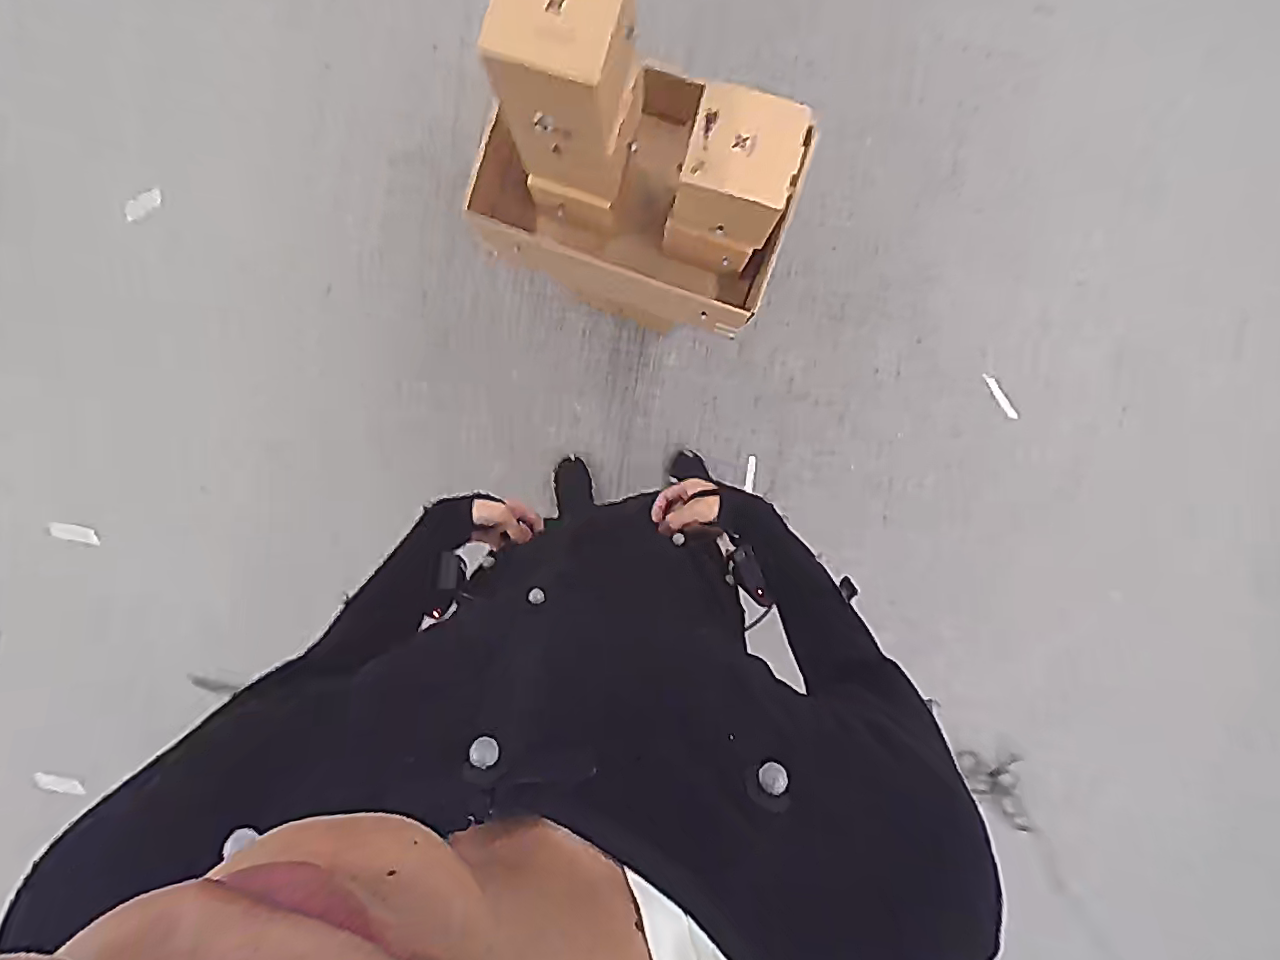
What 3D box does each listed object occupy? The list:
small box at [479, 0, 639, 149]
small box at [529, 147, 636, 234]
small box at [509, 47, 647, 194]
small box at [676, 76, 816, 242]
[{"bbox_3d":[-0.102,-0.617,0.760,0.168,0.176,0.179,17,92,-1],"label":"small box"},{"bbox_3d":[-0.107,-0.628,1.089,0.168,0.176,0.179,18,93,-2],"label":"small box"},{"bbox_3d":[-0.099,-0.625,0.924,0.179,0.176,0.168,19,93,-2],"label":"small box"},{"bbox_3d":[0.169,-0.533,0.927,0.179,0.176,0.168,17,93,-1],"label":"small box"}]
